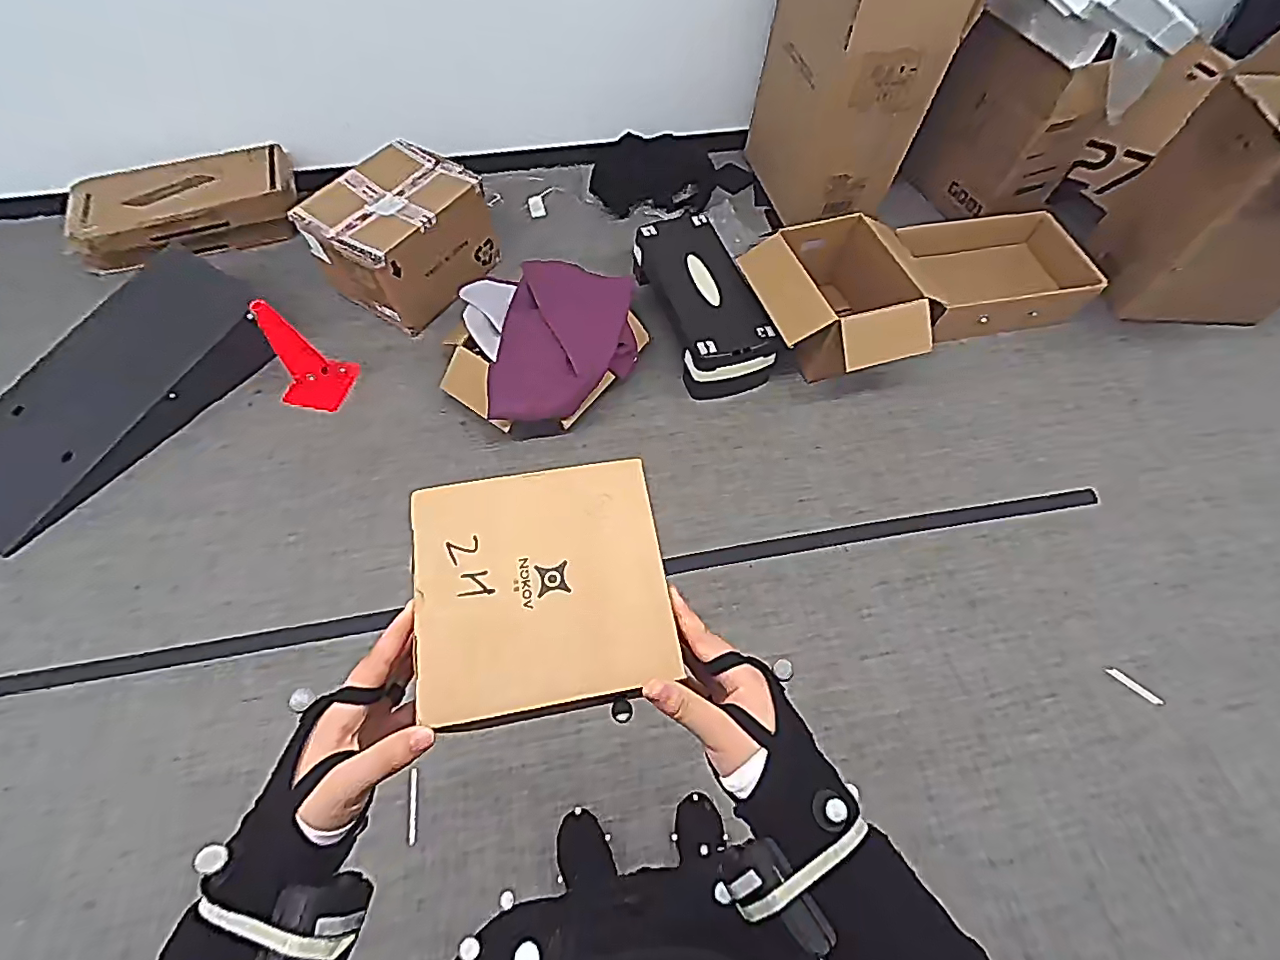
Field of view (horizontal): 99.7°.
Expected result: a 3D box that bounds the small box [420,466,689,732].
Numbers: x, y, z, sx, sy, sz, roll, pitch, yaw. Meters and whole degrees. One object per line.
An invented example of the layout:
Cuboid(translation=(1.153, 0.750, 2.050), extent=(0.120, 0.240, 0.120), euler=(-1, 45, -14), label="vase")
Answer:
Cuboid(translation=(-0.069, 0.105, 0.455), extent=(0.179, 0.176, 0.168), euler=(-9, 67, -7), label="small box")
